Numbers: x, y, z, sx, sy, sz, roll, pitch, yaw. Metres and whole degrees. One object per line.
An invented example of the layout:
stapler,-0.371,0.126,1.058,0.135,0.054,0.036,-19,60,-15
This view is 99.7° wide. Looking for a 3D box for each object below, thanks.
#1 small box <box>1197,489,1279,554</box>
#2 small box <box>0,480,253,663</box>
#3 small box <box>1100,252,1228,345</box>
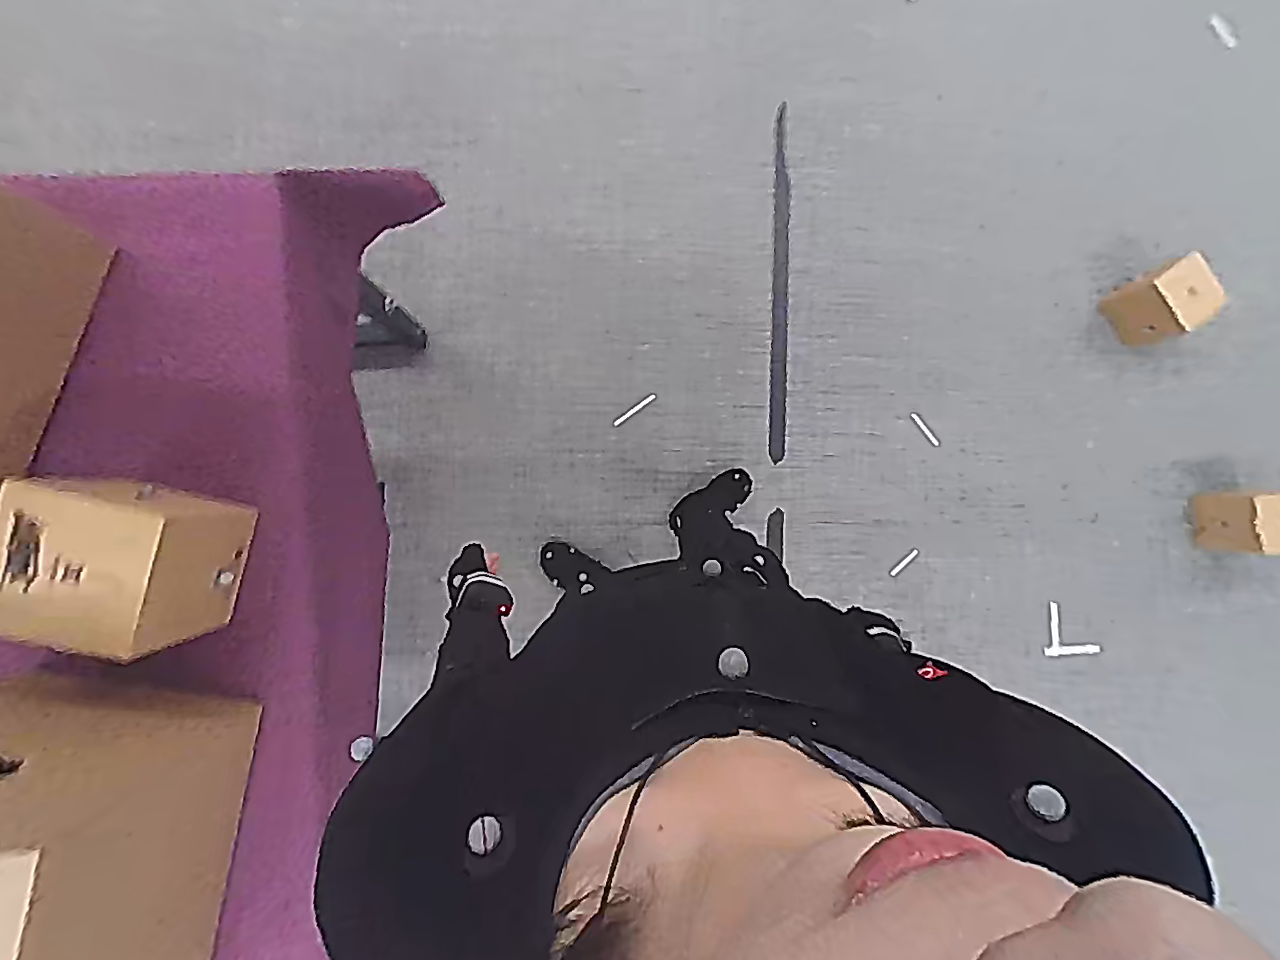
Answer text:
small box,1.779,0.118,1.568,0.179,0.176,0.168,-7,89,-3
small box,-0.628,0.101,0.657,0.179,0.176,0.168,13,88,-4
small box,1.508,-0.513,1.566,0.168,0.176,0.179,-36,91,-5
